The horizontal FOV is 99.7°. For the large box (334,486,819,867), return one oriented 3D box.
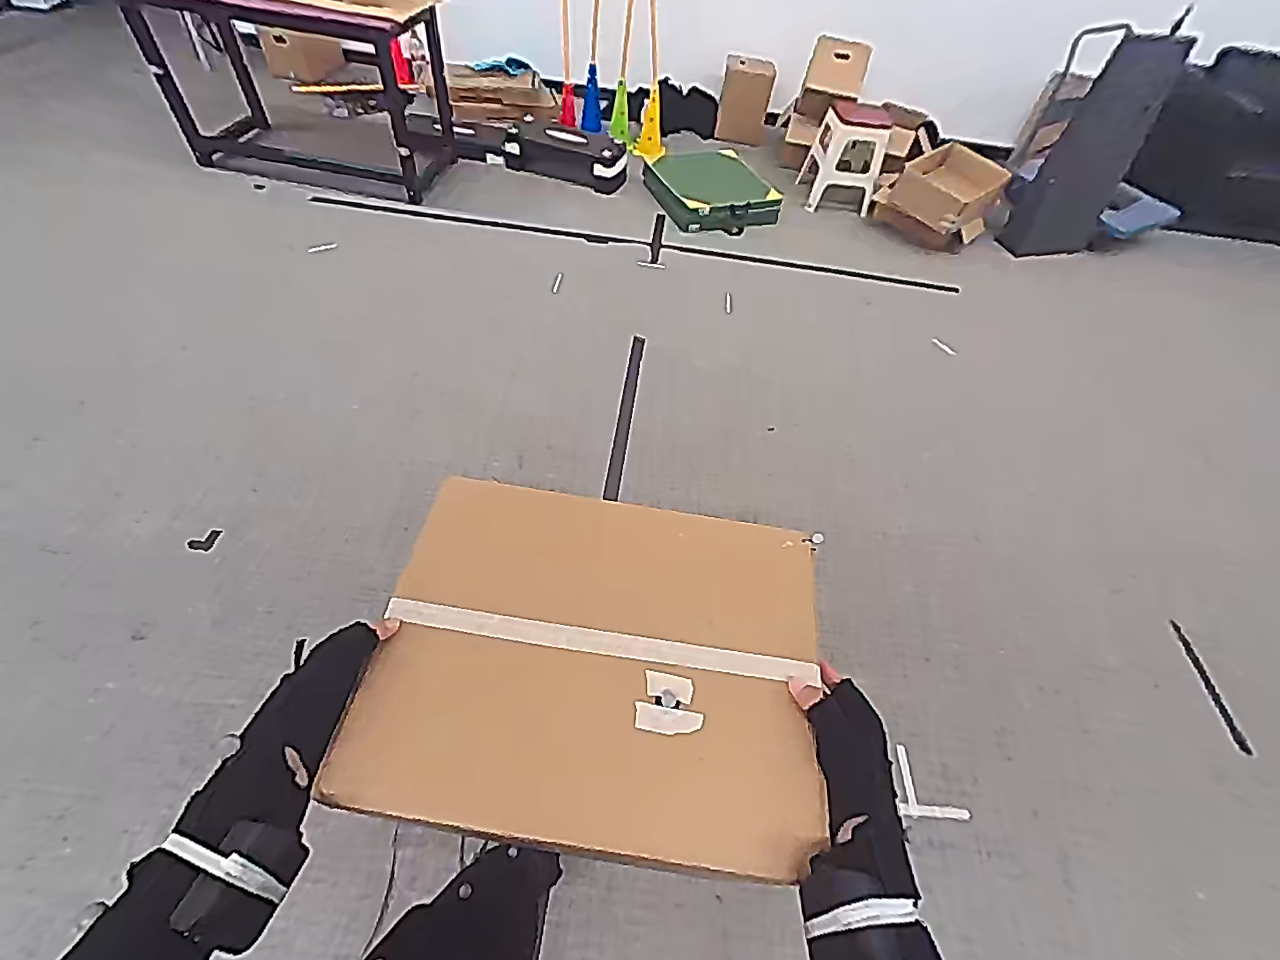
[{"bbox_3d":[-0.048,0.242,0.638,0.408,0.320,0.320,9,55,1],"label":"large box"}]
